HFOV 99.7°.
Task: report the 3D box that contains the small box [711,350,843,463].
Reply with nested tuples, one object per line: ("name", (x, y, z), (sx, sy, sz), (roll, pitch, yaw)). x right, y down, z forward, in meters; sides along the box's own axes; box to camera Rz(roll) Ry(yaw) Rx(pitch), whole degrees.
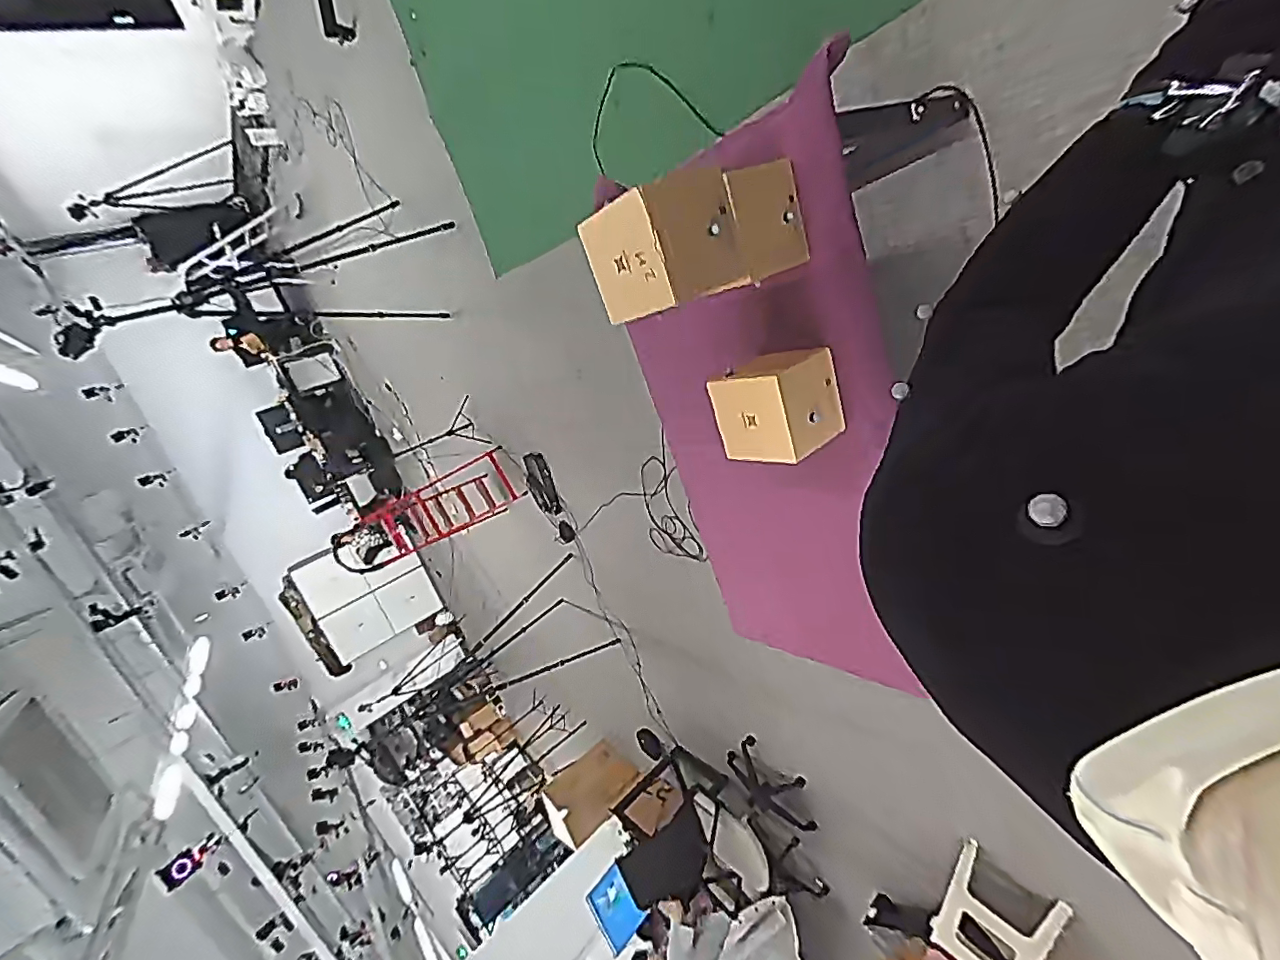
("small box", (0.272, -0.144, 1.048), (0.179, 0.176, 0.168), (8, 122, 54))

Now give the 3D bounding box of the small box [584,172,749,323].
("small box", (0.044, -0.367, 0.868), (0.179, 0.176, 0.168), (5, 121, 54))
